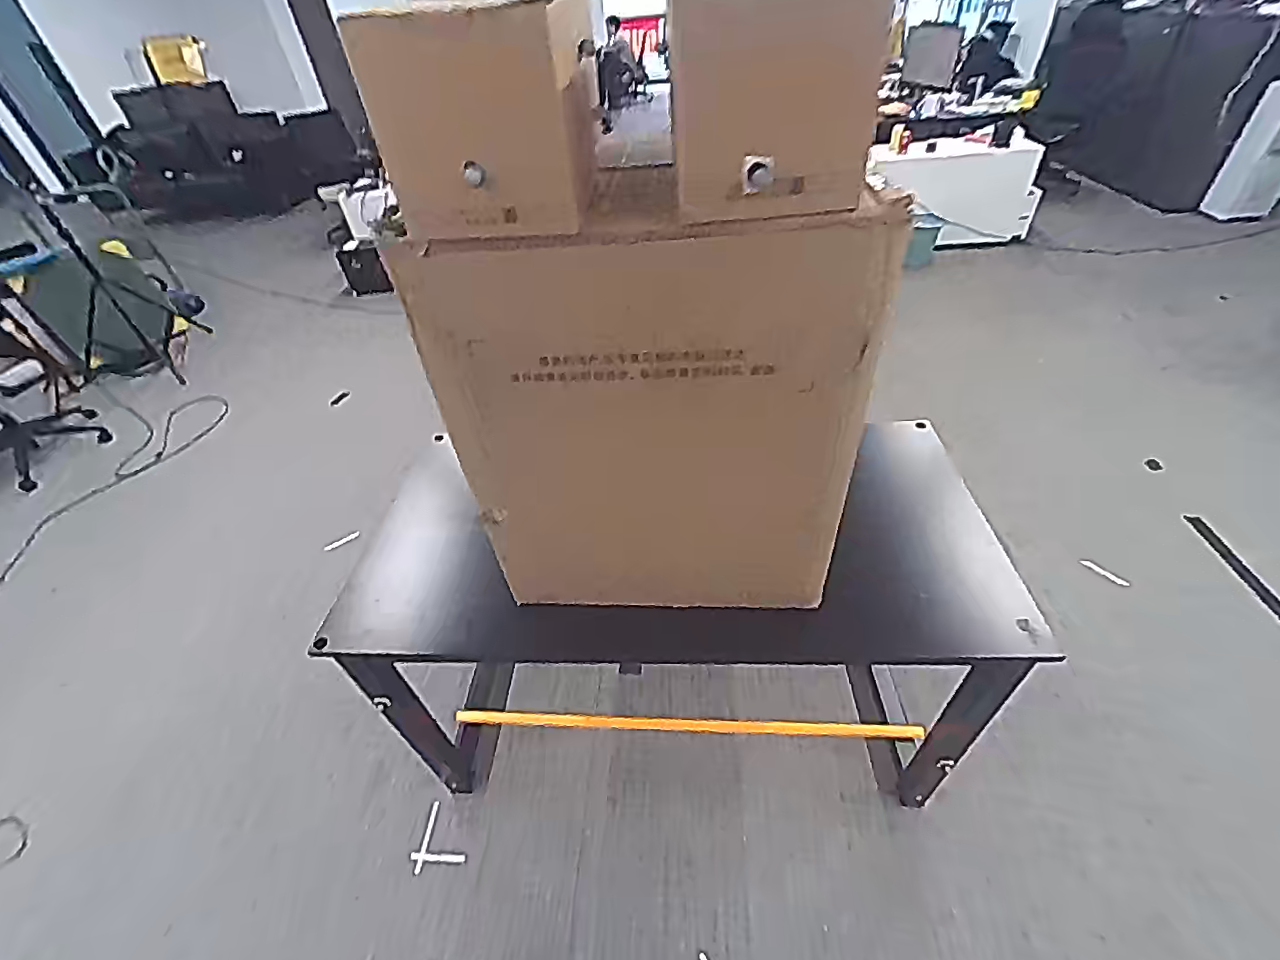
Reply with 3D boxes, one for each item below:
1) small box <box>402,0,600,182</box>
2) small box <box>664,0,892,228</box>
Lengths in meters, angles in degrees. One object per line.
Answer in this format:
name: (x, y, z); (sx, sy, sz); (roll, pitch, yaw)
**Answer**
small box: (-0.153, -0.478, 0.666); (0.179, 0.176, 0.168); (1, 41, 5)
small box: (0.109, -0.351, 0.500); (0.168, 0.176, 0.179); (-5, 43, 5)
